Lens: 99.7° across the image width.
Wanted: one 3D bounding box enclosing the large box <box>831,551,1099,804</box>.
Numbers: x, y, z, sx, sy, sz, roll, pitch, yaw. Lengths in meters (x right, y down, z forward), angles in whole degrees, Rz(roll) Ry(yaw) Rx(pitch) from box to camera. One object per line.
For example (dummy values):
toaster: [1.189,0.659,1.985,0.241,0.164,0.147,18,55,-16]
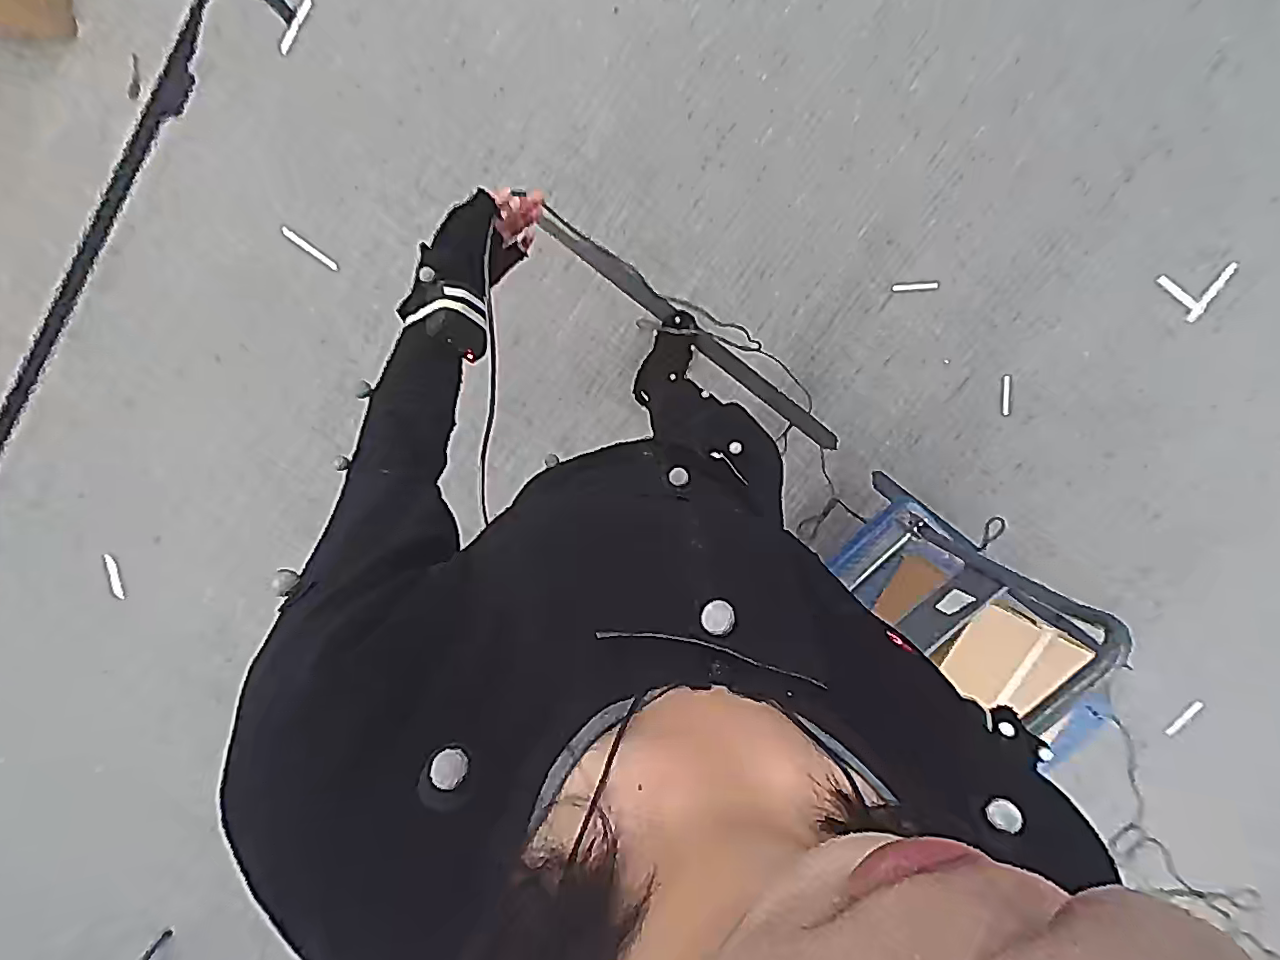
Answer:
large box: [0.727,0.441,1.275,0.320,0.320,0.408,26,100,-5]
